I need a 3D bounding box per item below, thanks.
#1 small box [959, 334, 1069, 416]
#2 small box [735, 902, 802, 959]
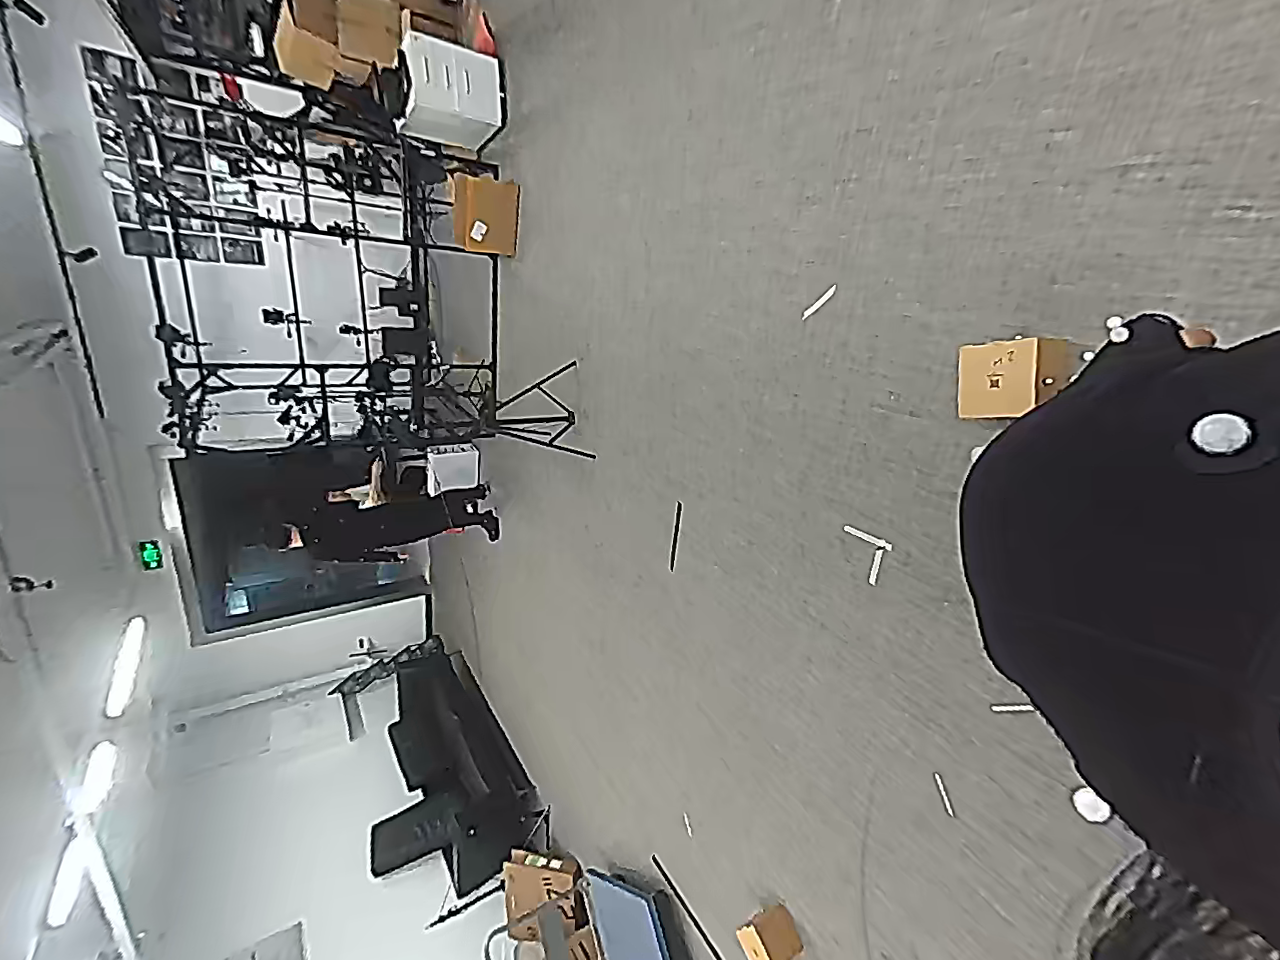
[{"bbox_3d":[0.884,-0.246,1.279,0.168,0.176,0.179,8,103,56],"label":"small box"},{"bbox_3d":[0.538,1.909,2.248,0.179,0.176,0.168,57,139,33],"label":"small box"}]
